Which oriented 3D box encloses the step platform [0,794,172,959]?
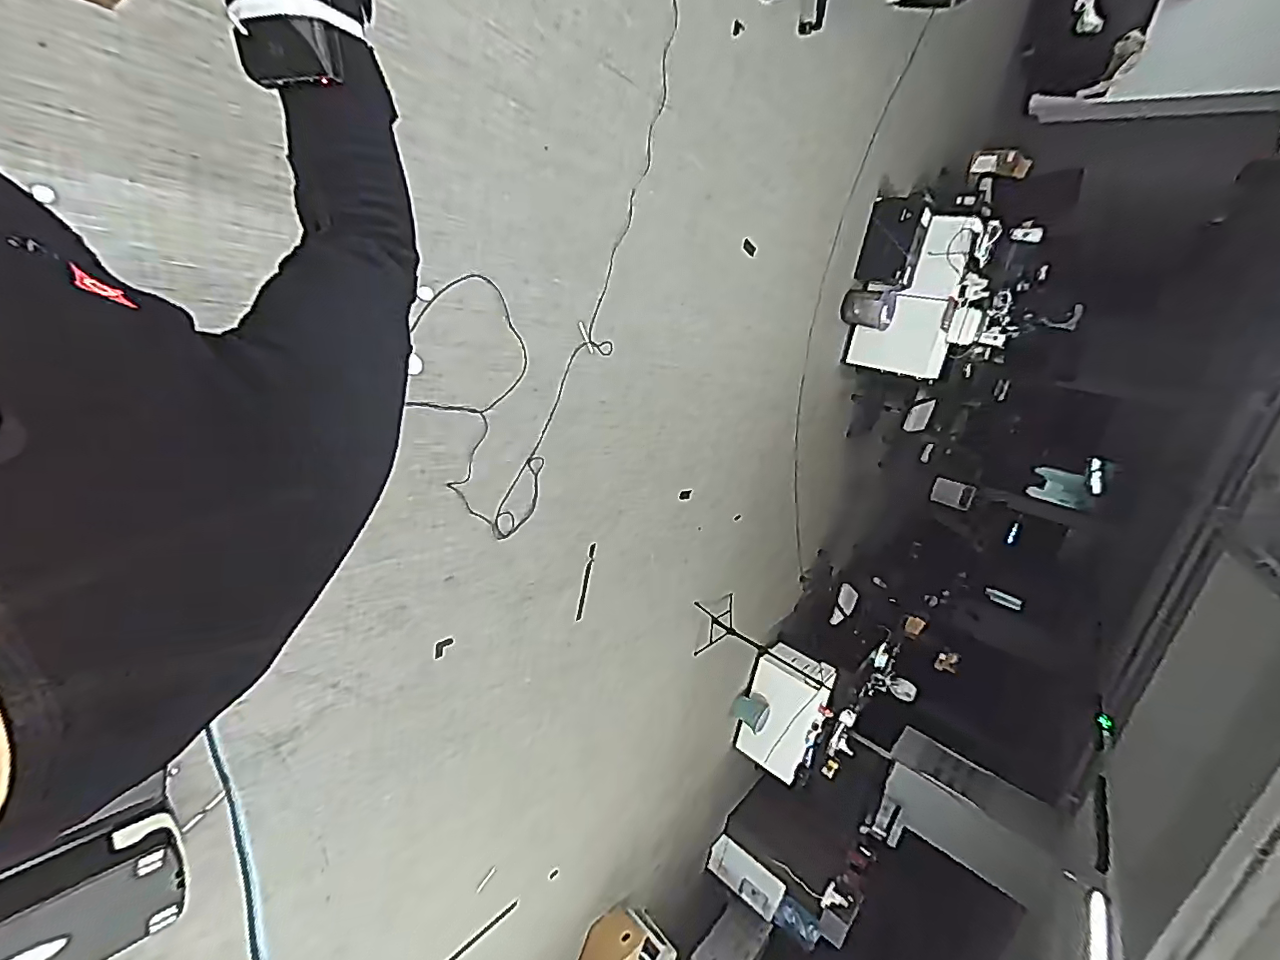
[{"bbox_3d":[-1.439,1.002,1.140,0.684,0.204,0.286,-13,119,-47],"label":"step platform"}]
